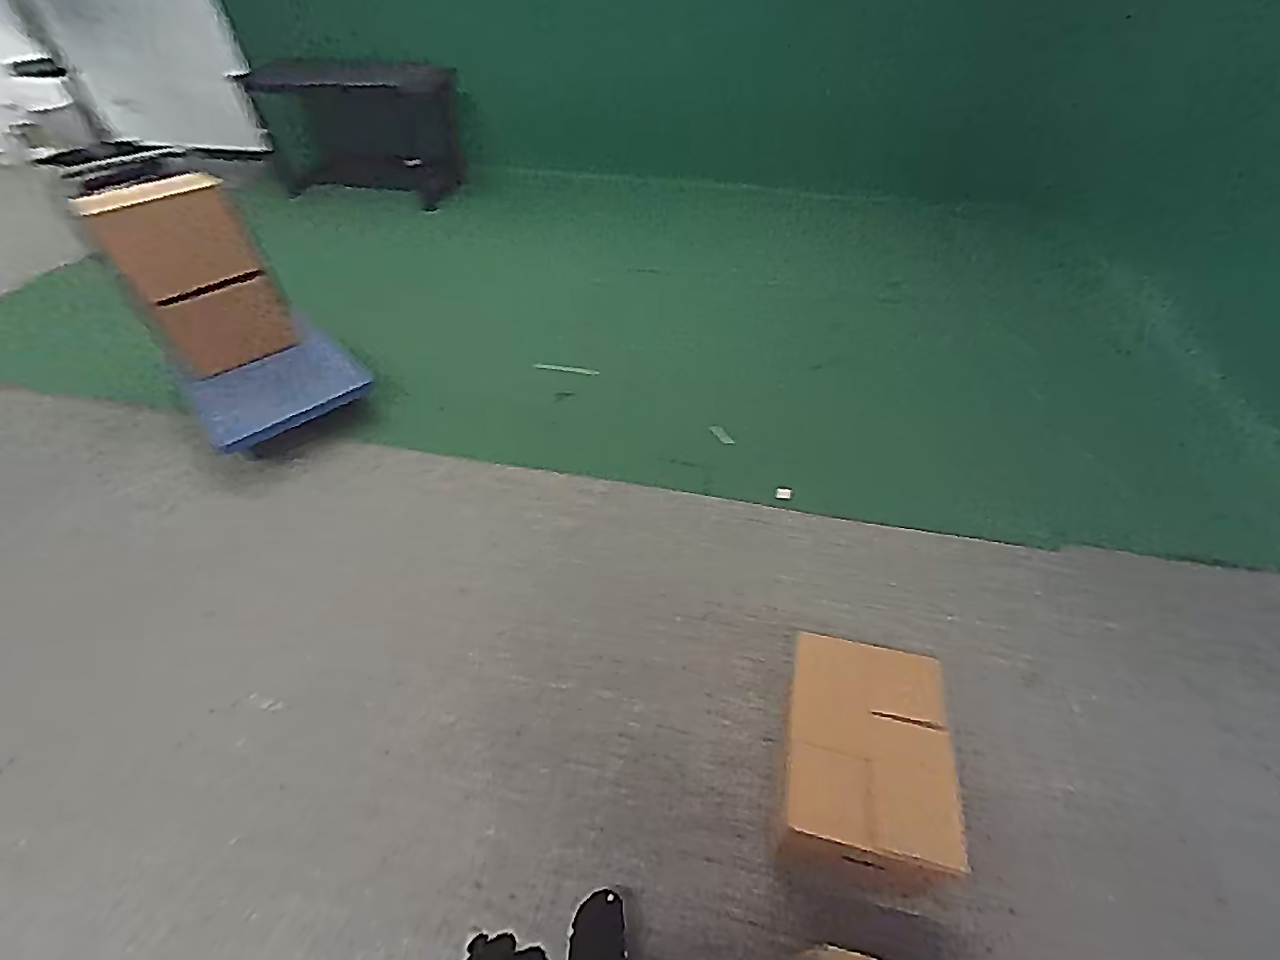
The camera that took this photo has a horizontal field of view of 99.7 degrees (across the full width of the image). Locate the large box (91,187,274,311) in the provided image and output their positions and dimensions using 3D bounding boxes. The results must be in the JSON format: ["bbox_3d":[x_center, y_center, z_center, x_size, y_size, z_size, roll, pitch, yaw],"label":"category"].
[{"bbox_3d":[-1.713,-0.880,2.046,0.320,0.320,0.408,32,53,34],"label":"large box"}]
